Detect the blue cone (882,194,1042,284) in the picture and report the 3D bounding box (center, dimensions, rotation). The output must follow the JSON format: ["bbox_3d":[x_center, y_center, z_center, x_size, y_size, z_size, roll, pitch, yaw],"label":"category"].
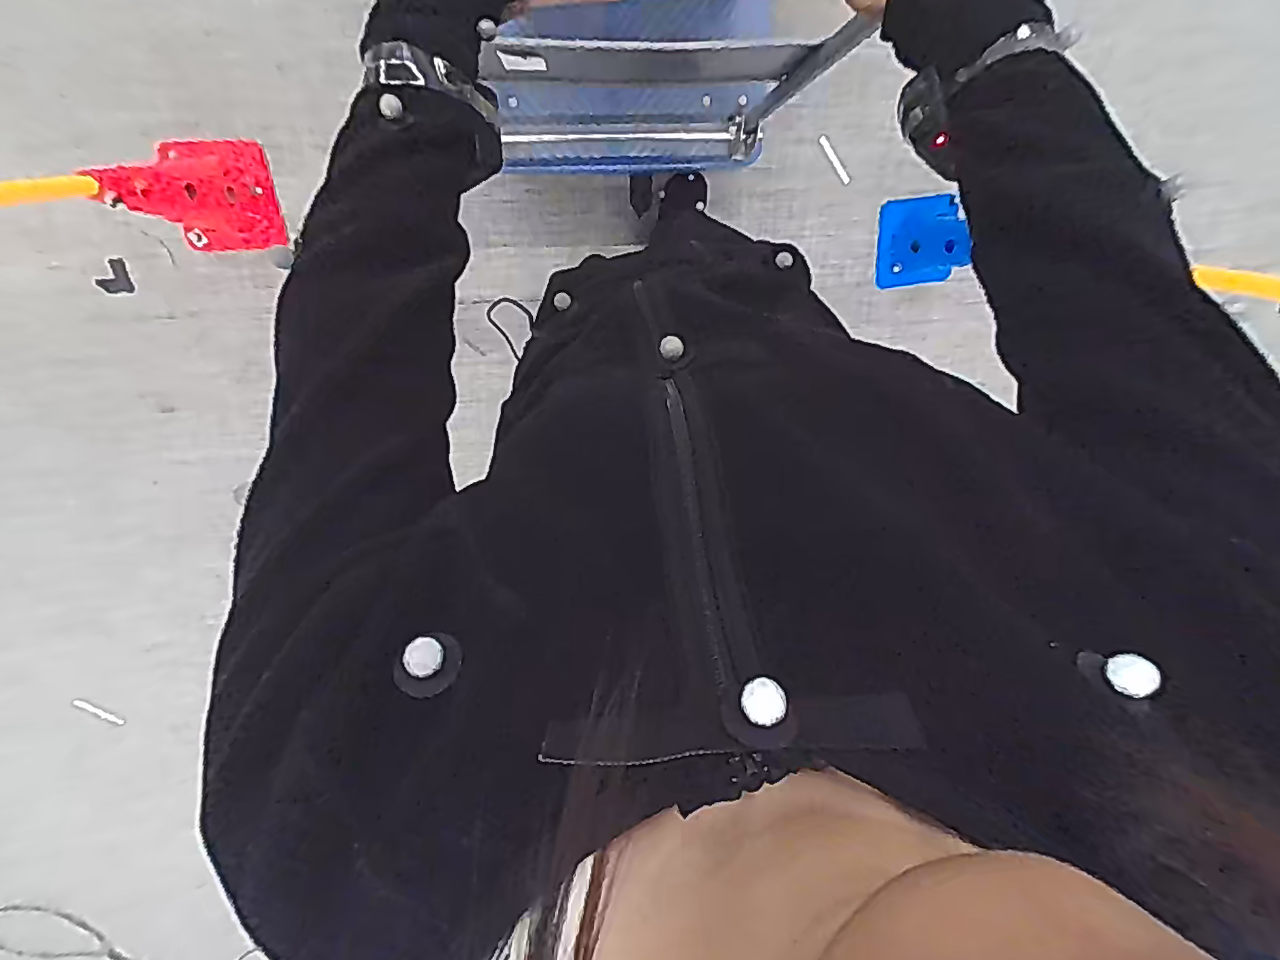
[{"bbox_3d":[0.705,-0.521,1.173,0.193,0.380,0.192,-8,114,-5],"label":"blue cone"}]
